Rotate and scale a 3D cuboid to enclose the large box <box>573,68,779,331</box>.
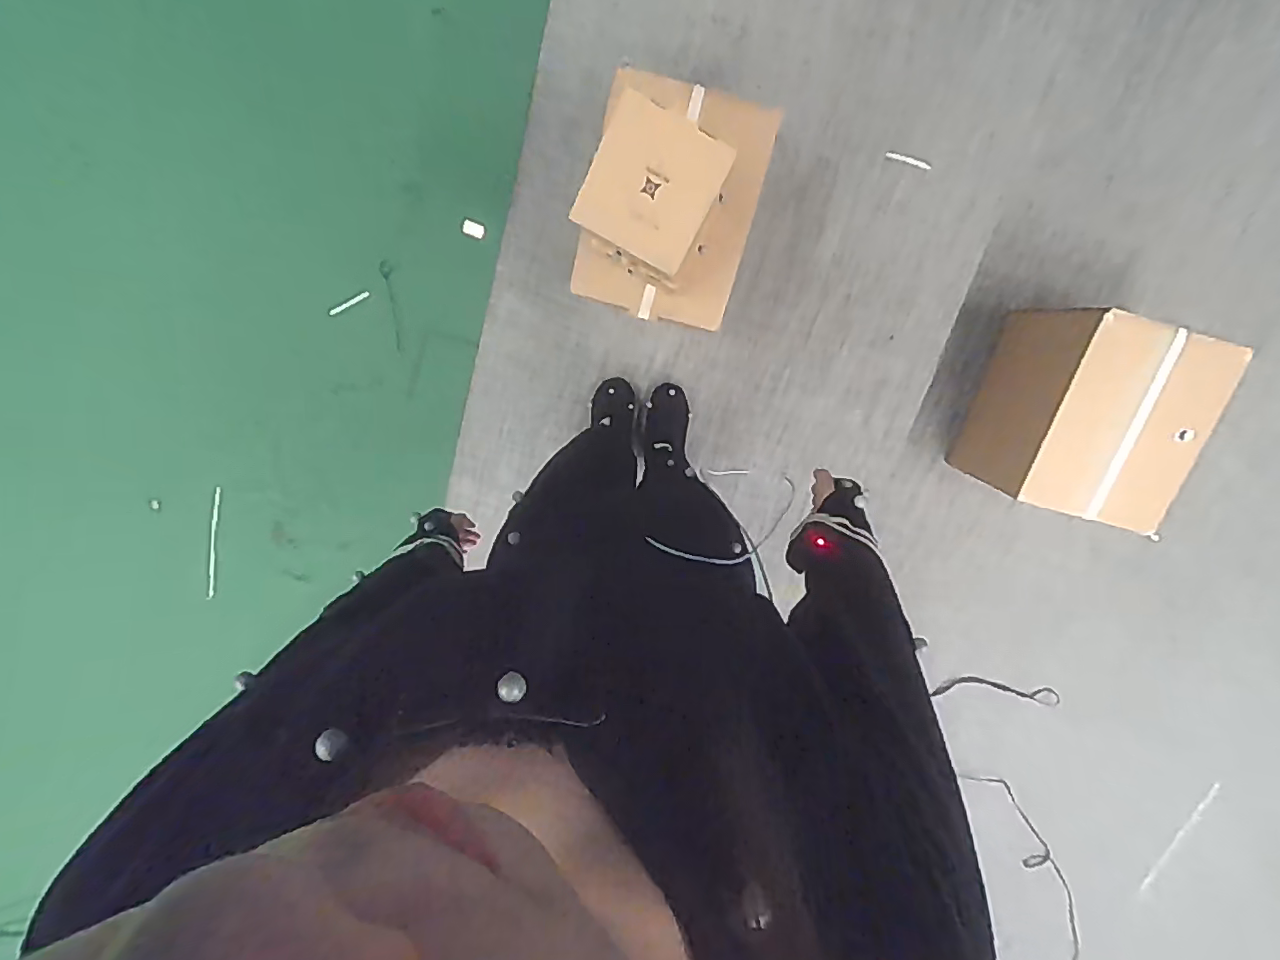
[{"bbox_3d":[0.066,-0.556,1.167,0.320,0.320,0.408,15,106,-2],"label":"large box"}]

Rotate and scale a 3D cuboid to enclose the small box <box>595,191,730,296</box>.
[{"bbox_3d":[0.036,-0.442,0.948,0.168,0.176,0.179,25,106,-4],"label":"small box"}]

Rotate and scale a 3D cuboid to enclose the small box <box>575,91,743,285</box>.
[{"bbox_3d":[0.026,-0.406,0.789,0.168,0.176,0.179,29,107,-5],"label":"small box"}]
